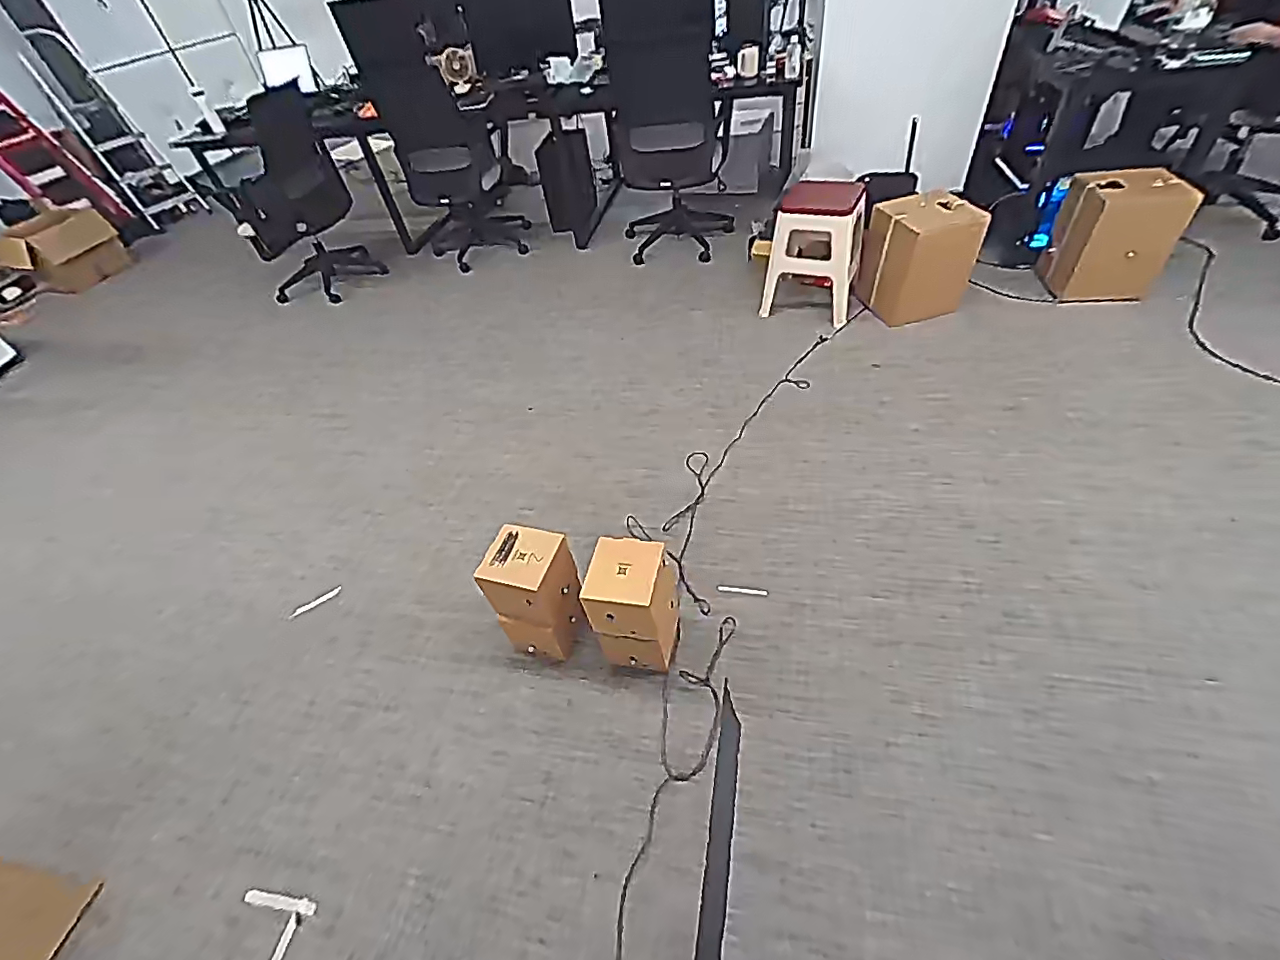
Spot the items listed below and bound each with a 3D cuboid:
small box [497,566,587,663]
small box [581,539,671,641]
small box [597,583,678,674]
[{"bbox_3d":[-0.256,0.366,1.470,0.168,0.176,0.179,8,50,18],"label":"small box"},{"bbox_3d":[-0.024,0.265,1.296,0.168,0.176,0.179,3,46,15],"label":"small box"},{"bbox_3d":[0.002,0.378,1.411,0.168,0.176,0.179,3,48,16],"label":"small box"}]
